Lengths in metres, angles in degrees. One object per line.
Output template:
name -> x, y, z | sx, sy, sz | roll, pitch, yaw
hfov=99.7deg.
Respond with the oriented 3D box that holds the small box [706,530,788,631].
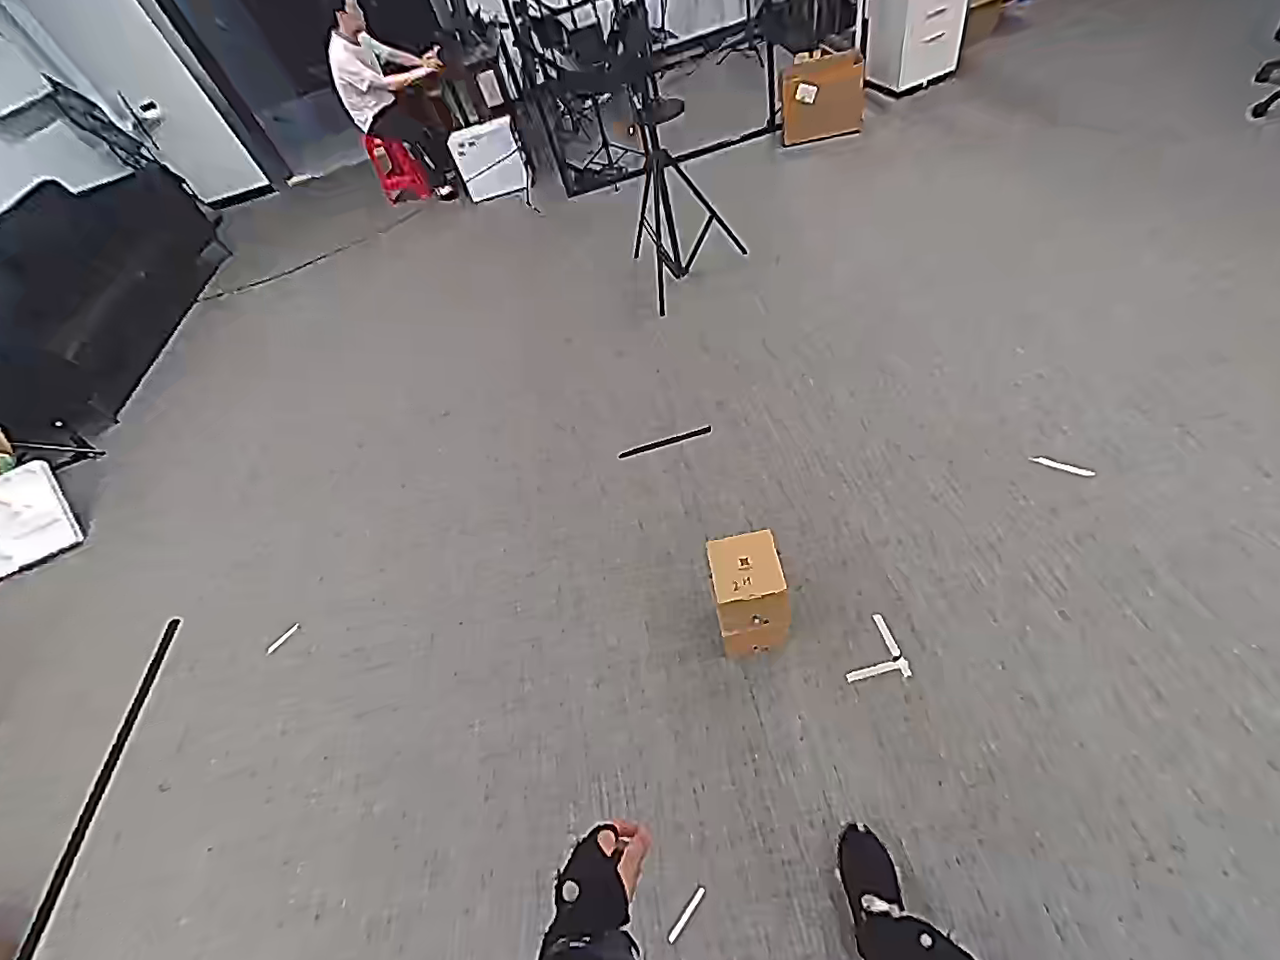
small box -> 0.268, 0.255, 1.357 | 0.168, 0.176, 0.179 | -13, 50, 8
